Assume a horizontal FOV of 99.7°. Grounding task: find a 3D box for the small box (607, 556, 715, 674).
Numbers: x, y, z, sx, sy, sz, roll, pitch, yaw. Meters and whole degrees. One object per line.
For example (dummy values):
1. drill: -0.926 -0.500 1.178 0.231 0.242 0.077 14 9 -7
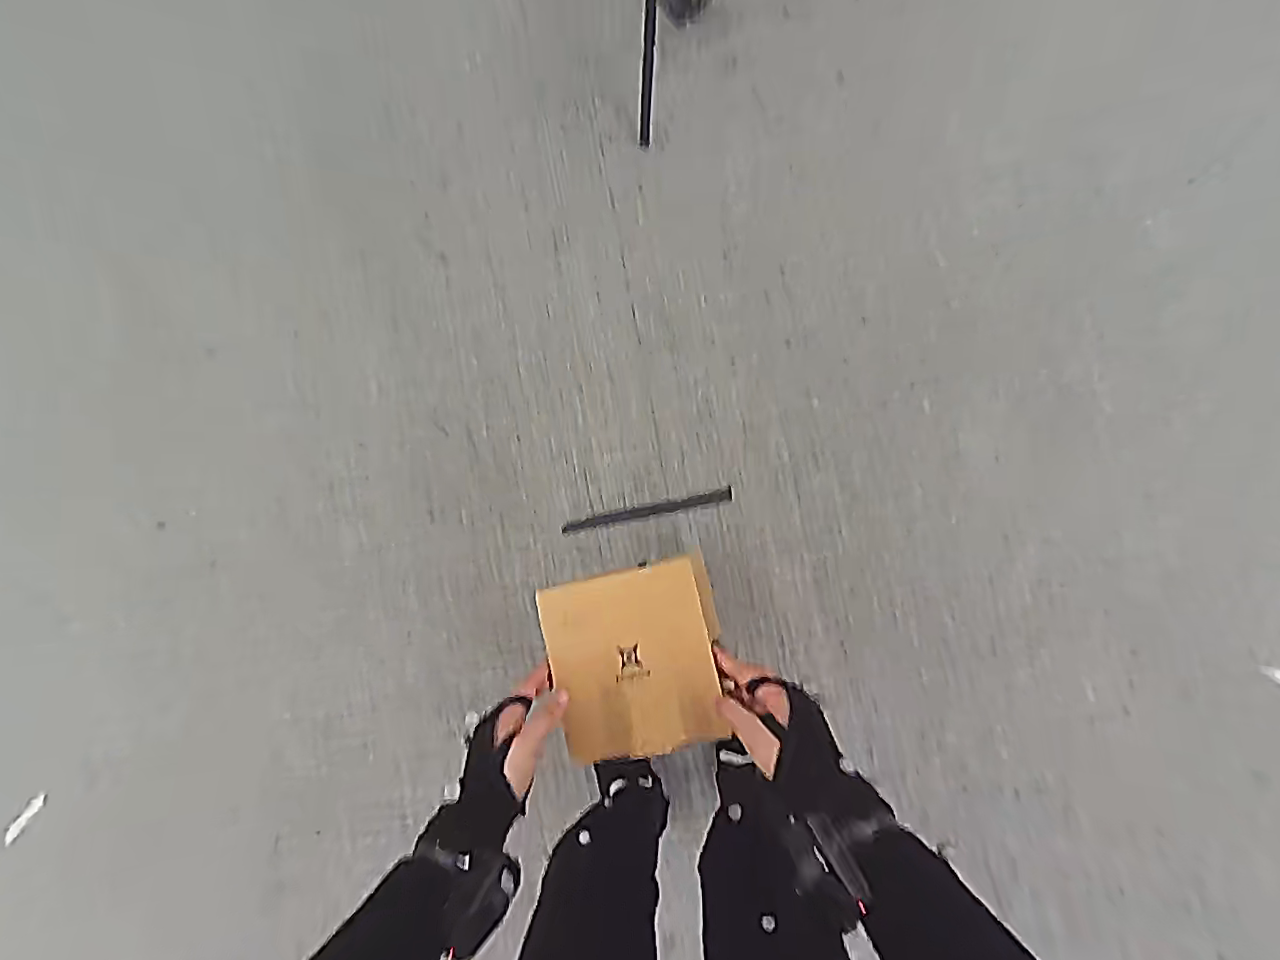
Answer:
1. small box: 0.045 0.248 1.030 0.168 0.176 0.179 -13 82 4
